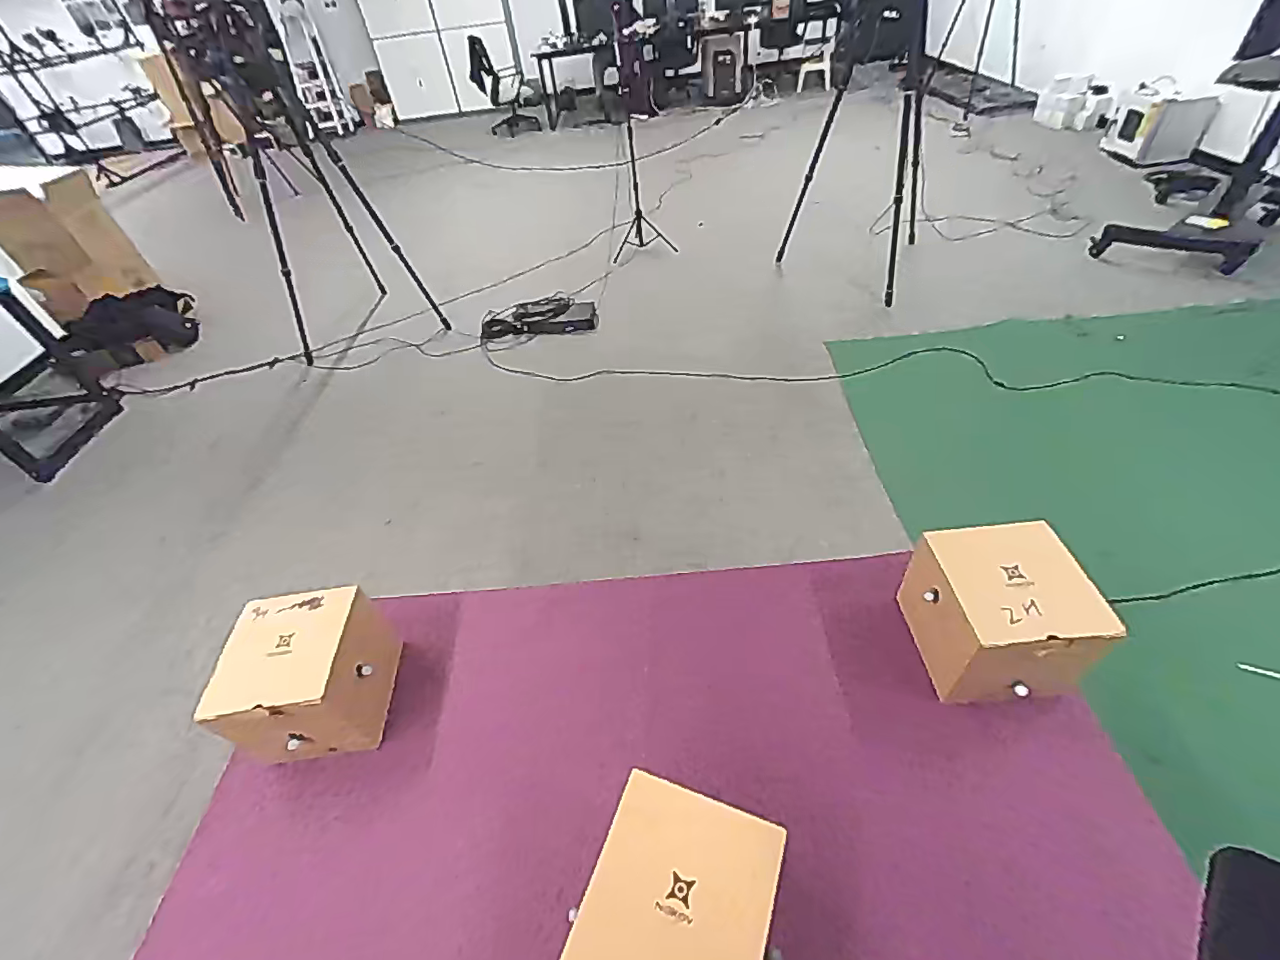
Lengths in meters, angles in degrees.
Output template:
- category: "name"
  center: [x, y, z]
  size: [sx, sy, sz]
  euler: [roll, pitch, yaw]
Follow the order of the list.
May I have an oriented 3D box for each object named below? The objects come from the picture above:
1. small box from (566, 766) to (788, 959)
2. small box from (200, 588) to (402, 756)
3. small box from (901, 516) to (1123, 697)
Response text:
- category: "small box"
  center: [0.046, 0.436, 0.555]
  size: [0.168, 0.176, 0.179]
  euler: [11, 49, 20]
- category: "small box"
  center: [-0.472, 0.286, 0.789]
  size: [0.168, 0.176, 0.179]
  euler: [-9, 46, 0]
- category: "small box"
  center: [0.481, 0.174, 0.739]
  size: [0.168, 0.176, 0.179]
  euler: [-7, 45, 4]
